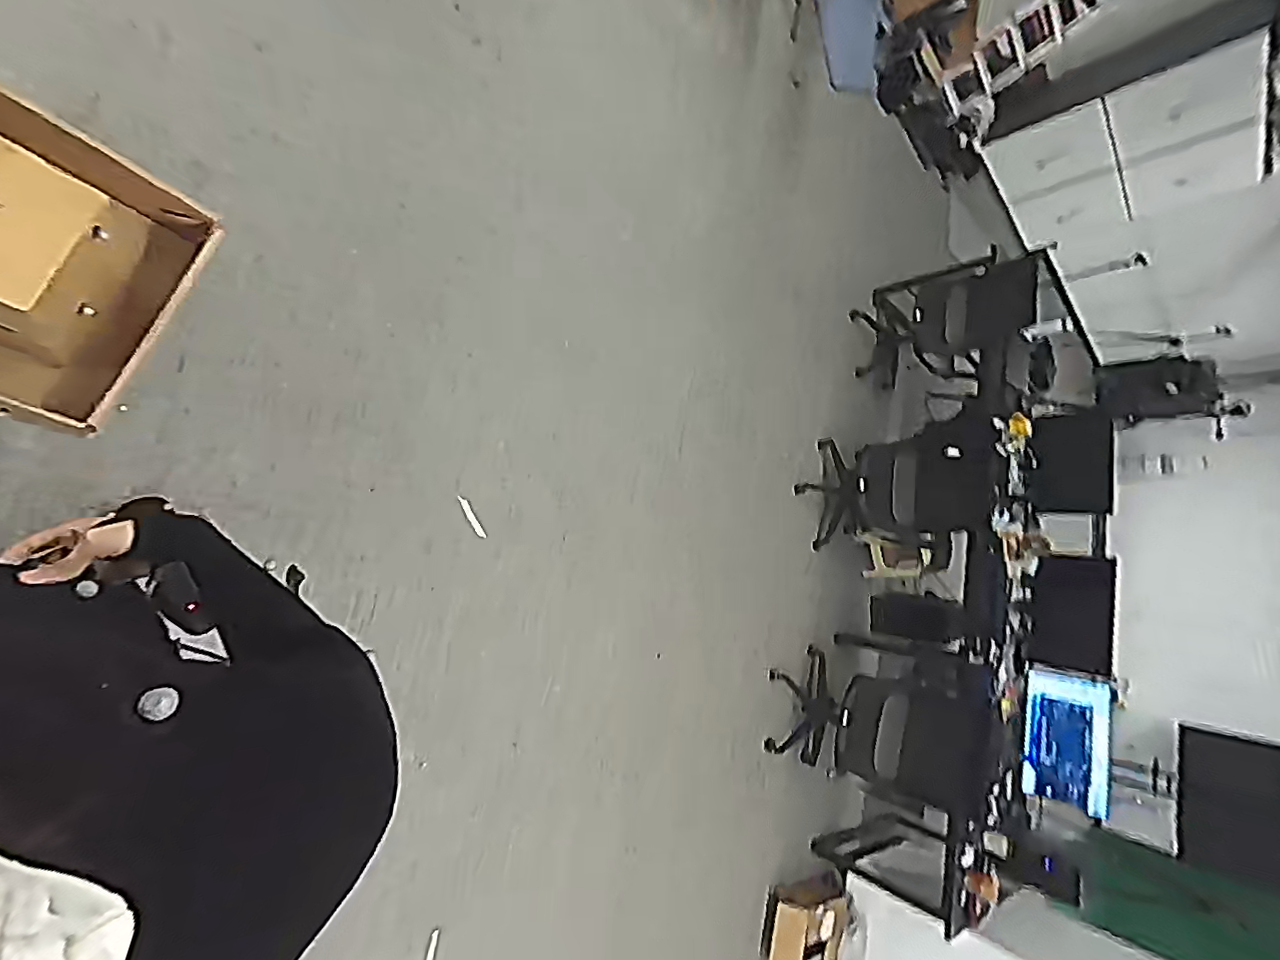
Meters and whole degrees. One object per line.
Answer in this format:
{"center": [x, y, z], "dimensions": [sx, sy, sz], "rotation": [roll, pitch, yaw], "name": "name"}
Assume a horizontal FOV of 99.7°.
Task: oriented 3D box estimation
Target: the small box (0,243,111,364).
{"center": [-0.899, -0.288, 0.770], "dimensions": [0.168, 0.176, 0.179], "rotation": [28, 69, -38], "name": "small box"}

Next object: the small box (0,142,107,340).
{"center": [-0.788, -0.294, 0.651], "dimensions": [0.168, 0.176, 0.179], "rotation": [28, 69, -38], "name": "small box"}
